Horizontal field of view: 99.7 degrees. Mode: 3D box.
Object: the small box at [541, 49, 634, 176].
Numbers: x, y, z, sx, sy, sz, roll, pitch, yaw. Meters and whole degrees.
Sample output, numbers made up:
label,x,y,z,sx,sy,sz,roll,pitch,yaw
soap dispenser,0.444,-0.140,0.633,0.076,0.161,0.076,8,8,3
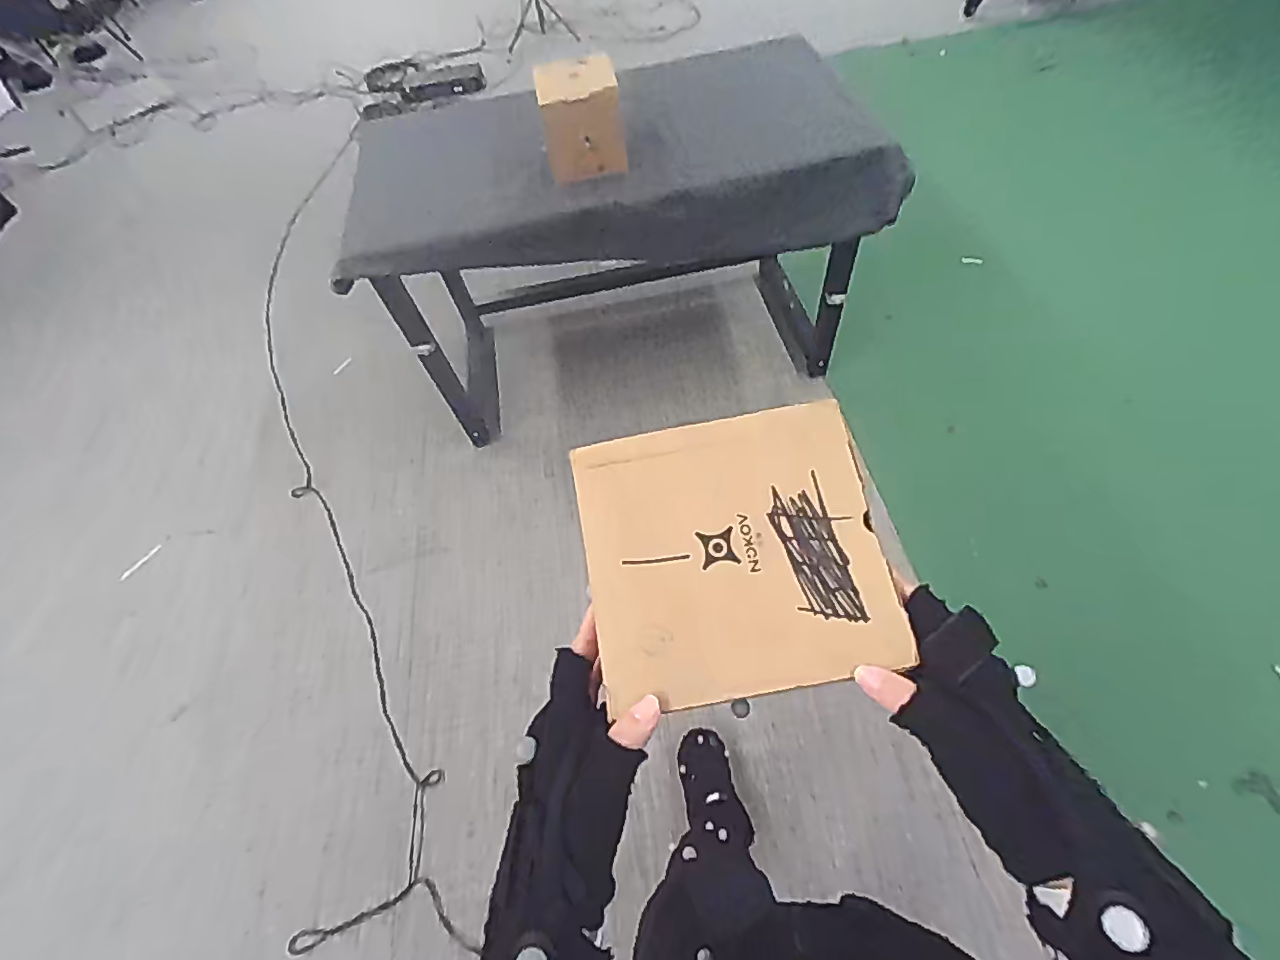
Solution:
label,x,y,z,sx,sy,sz,roll,pitch,yaw
small box,-0.111,-0.788,1.176,0.168,0.176,0.179,-11,58,0
